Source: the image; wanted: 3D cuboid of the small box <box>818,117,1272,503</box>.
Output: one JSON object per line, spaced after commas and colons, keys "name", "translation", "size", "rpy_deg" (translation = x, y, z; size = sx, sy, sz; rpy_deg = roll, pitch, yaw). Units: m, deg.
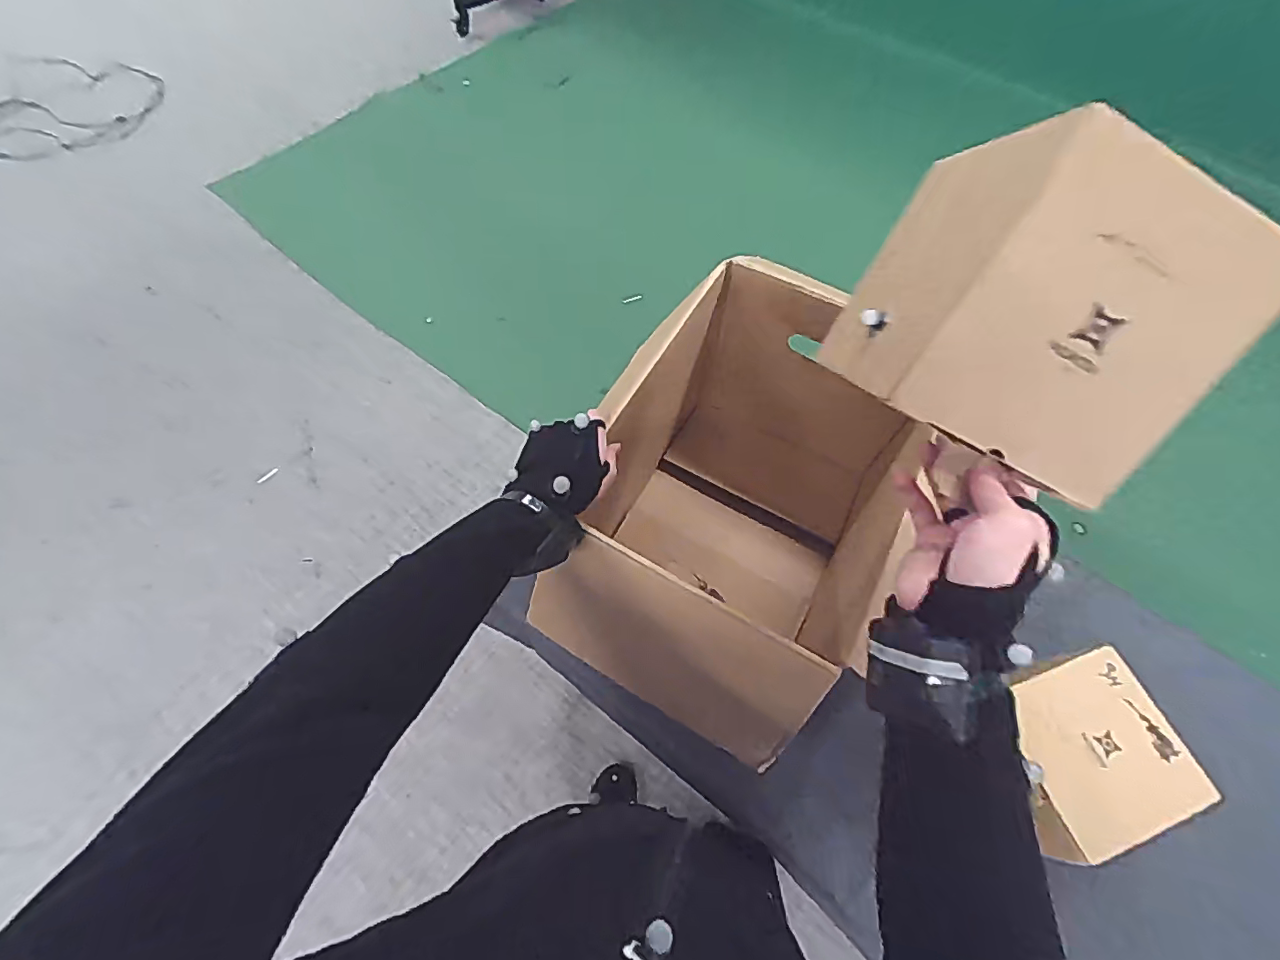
{"name": "small box", "translation": [0.256, -0.116, 0.401], "size": [0.168, 0.179, 0.176], "rpy_deg": [24, 18, -9]}
